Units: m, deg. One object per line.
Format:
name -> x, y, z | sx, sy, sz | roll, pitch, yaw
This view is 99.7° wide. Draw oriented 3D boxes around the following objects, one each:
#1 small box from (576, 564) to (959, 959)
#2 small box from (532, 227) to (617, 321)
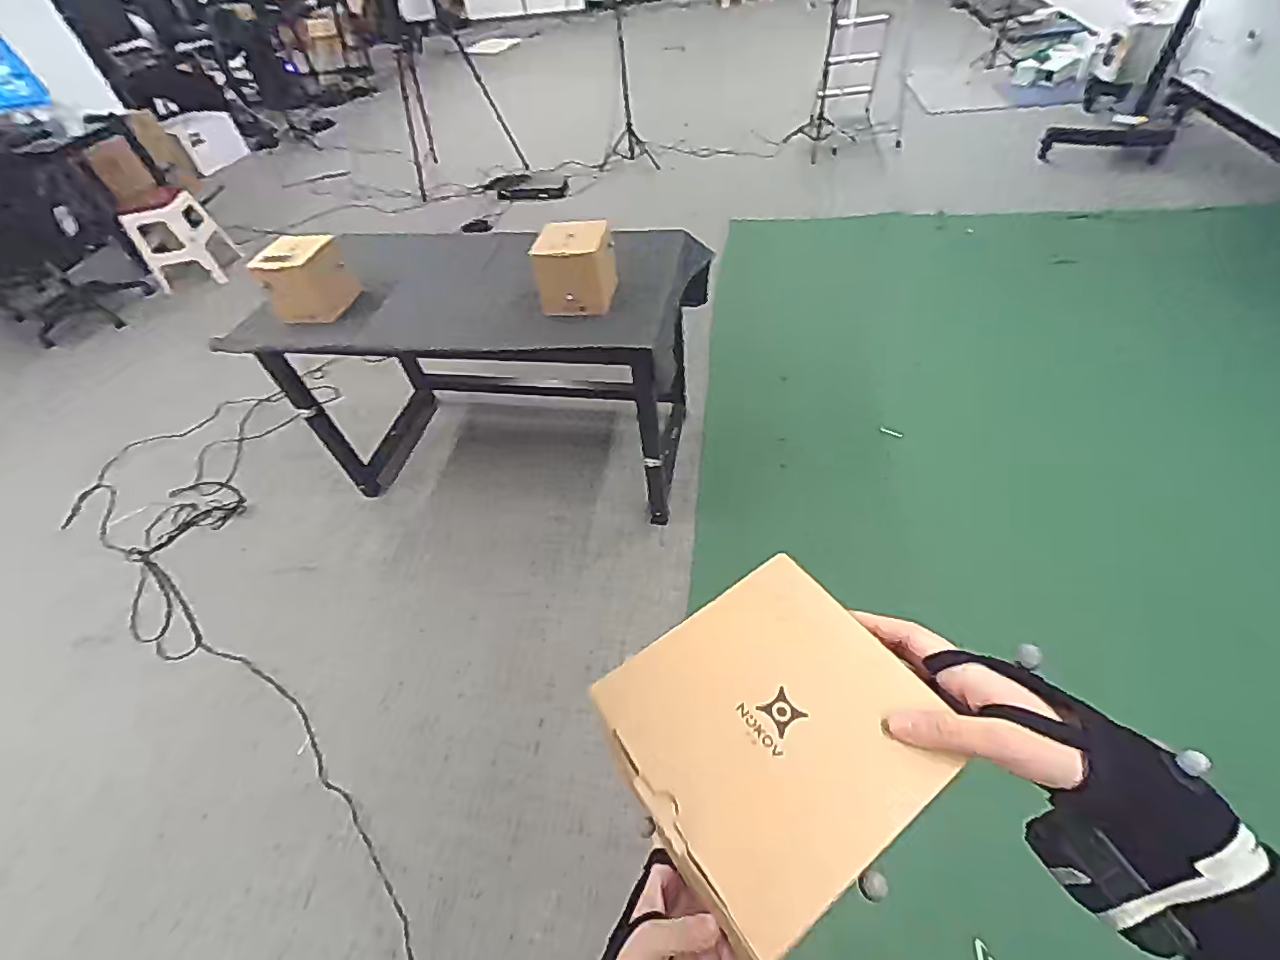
small box -> 0.078, 0.201, 0.393 | 0.179, 0.176, 0.168 | -34, 57, -20
small box -> -0.160, -0.530, 1.399 | 0.168, 0.176, 0.179 | 1, 49, 11
